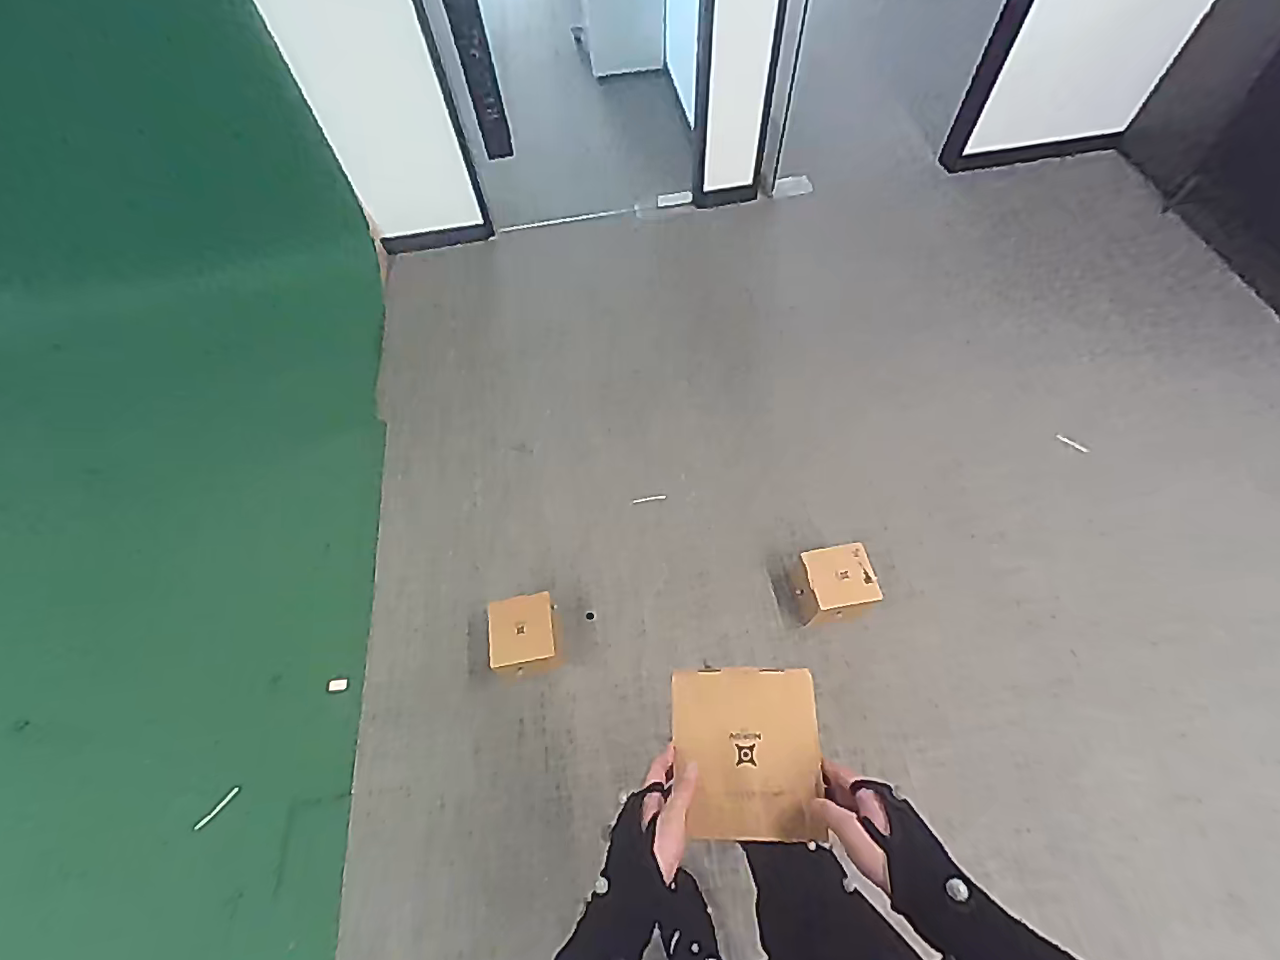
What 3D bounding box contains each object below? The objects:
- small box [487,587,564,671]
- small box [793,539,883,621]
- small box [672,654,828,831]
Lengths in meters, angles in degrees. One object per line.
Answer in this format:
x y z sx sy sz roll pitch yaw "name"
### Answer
-0.306 0.409 1.462 0.168 0.176 0.179 -10 60 -3 "small box"
0.535 0.281 1.495 0.179 0.176 0.168 -9 61 -2 "small box"
0.125 0.315 0.674 0.168 0.176 0.179 -2 69 6 "small box"
